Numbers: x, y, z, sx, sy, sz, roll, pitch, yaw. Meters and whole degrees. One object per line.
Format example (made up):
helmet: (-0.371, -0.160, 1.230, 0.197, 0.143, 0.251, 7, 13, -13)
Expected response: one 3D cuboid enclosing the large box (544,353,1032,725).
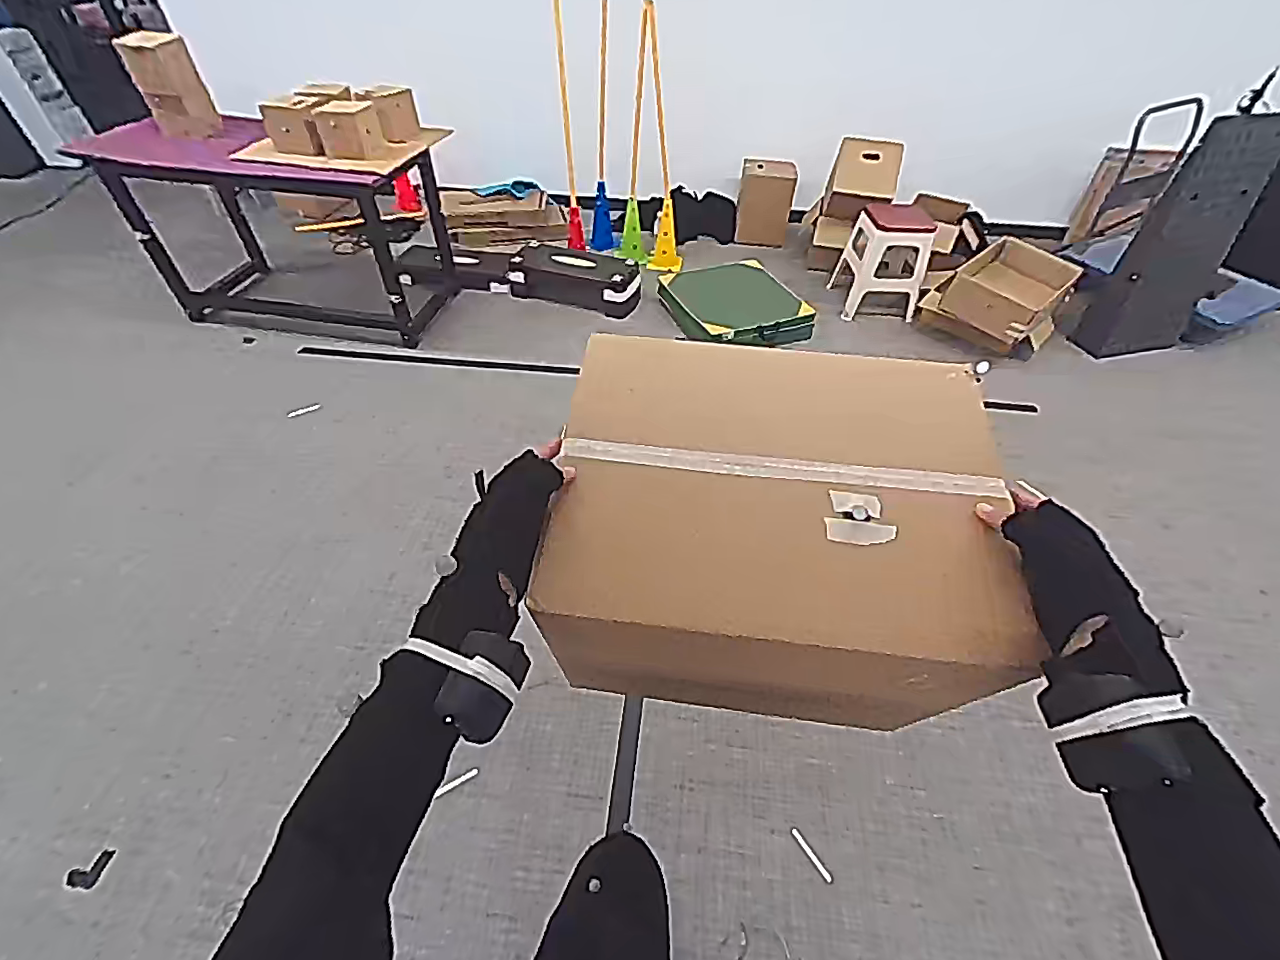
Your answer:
large box: (0.130, 0.081, 0.641, 0.408, 0.320, 0.320, 6, 59, 4)
